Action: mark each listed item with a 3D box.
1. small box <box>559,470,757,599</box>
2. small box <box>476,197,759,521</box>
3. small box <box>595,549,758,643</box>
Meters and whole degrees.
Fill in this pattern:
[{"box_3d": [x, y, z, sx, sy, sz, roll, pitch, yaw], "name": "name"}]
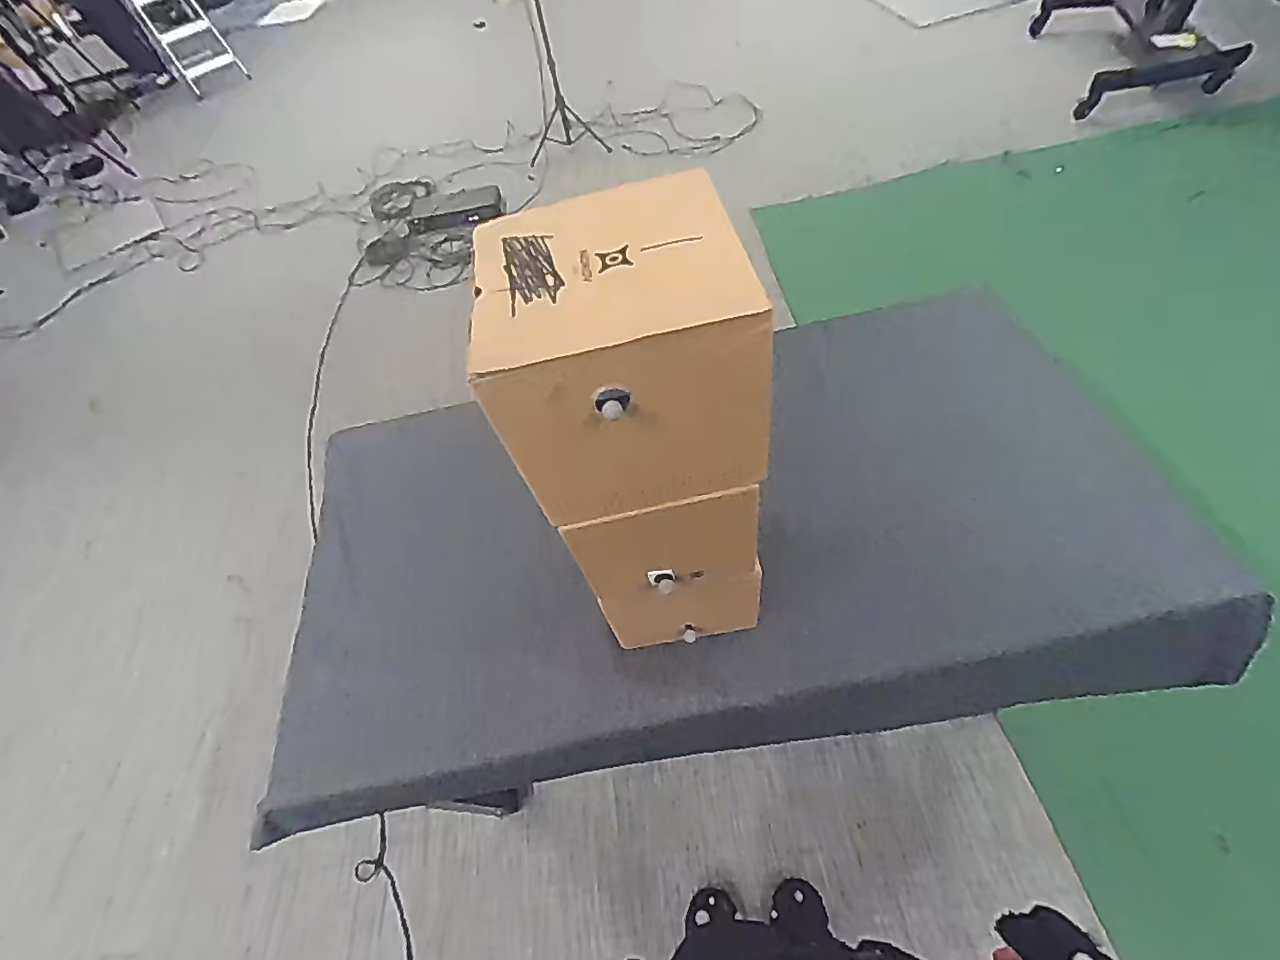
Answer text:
[{"box_3d": [0.013, -0.003, 0.549, 0.168, 0.176, 0.179, -13, 56, 2], "name": "small box"}, {"box_3d": [-0.011, -0.084, 0.427, 0.179, 0.176, 0.168, -12, 55, 2], "name": "small box"}, {"box_3d": [0.038, 0.090, 0.680, 0.179, 0.176, 0.168, -11, 55, 2], "name": "small box"}]
